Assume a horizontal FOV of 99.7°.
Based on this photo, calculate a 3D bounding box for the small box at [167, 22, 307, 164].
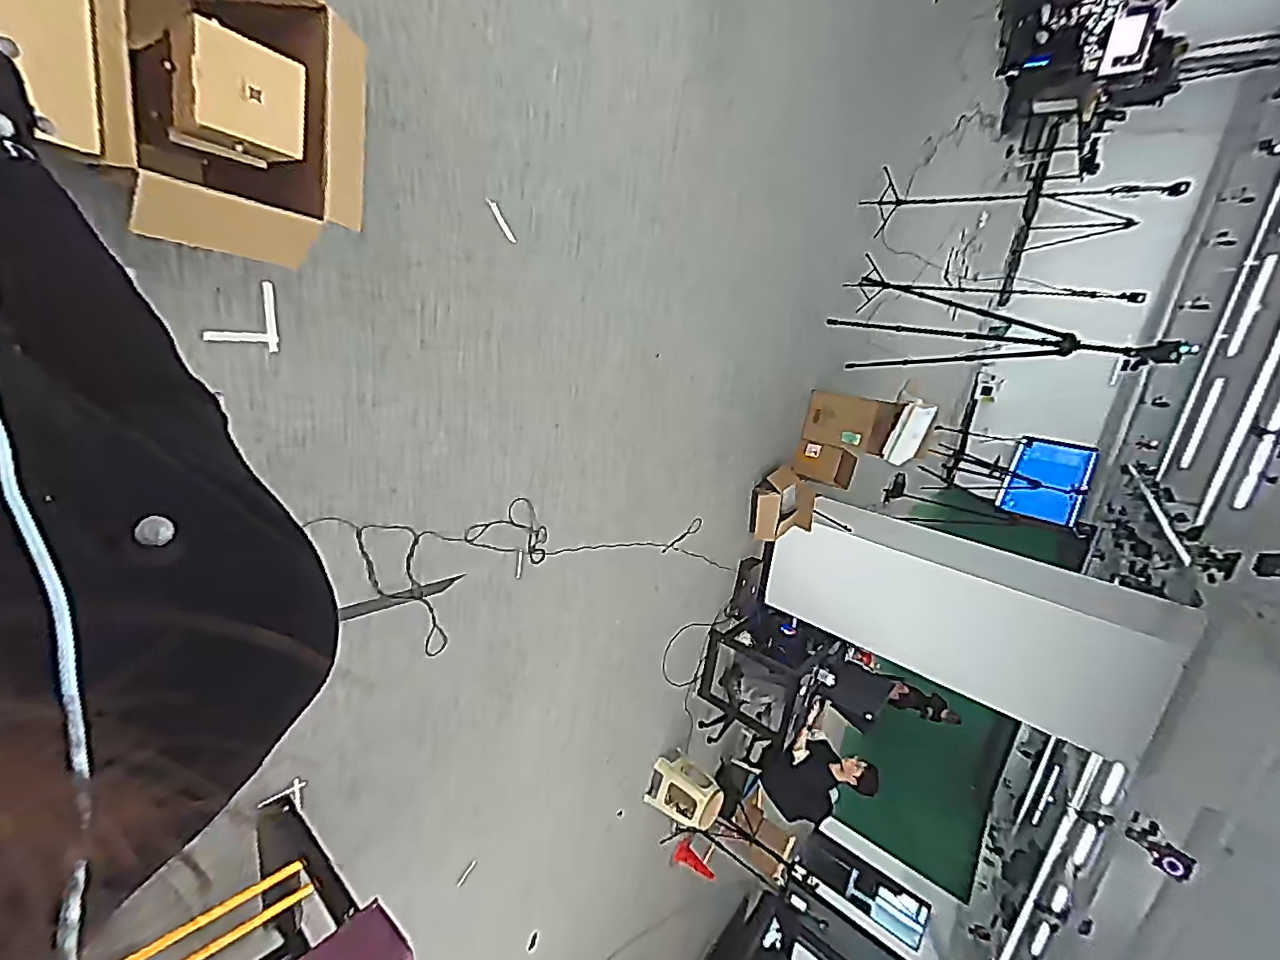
[{"bbox_3d":[-0.770,-0.726,1.035,0.179,0.176,0.168,-8,114,-51],"label":"small box"}]
